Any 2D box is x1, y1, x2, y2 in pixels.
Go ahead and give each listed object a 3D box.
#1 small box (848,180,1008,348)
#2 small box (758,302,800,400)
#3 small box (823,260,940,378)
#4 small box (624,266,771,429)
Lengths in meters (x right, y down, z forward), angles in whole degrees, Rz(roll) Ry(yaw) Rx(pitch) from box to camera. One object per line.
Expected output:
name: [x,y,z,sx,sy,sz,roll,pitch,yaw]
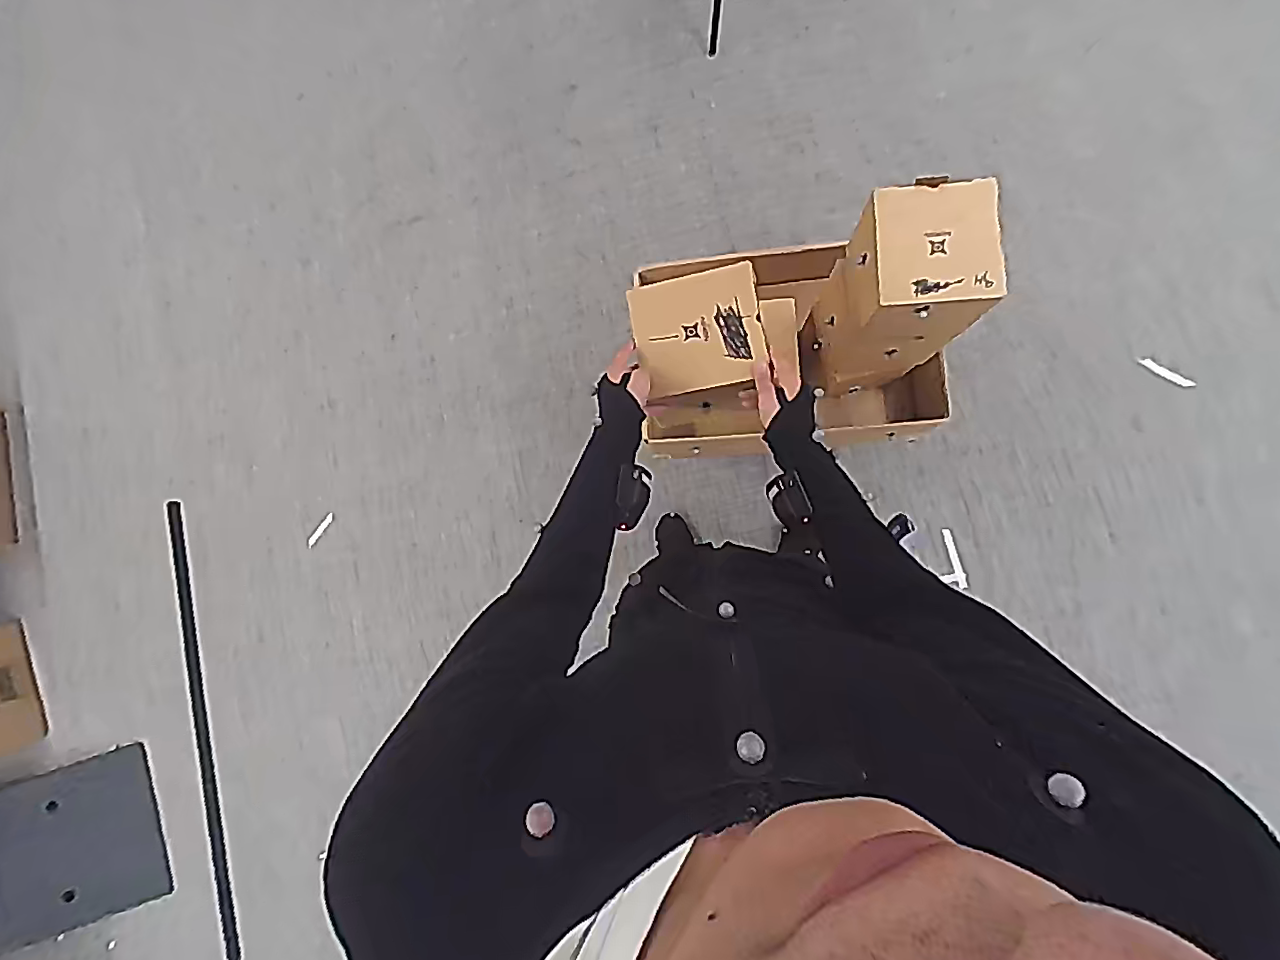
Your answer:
small box: [0.419,-0.315,0.817,0.168,0.176,0.179,-1,84,8]
small box: [0.238,-0.268,1.168,0.179,0.176,0.168,-3,84,6]
small box: [0.440,-0.295,0.979,0.179,0.176,0.168,-8,84,7]
small box: [0.087,-0.183,0.796,0.179,0.176,0.168,-10,81,9]
